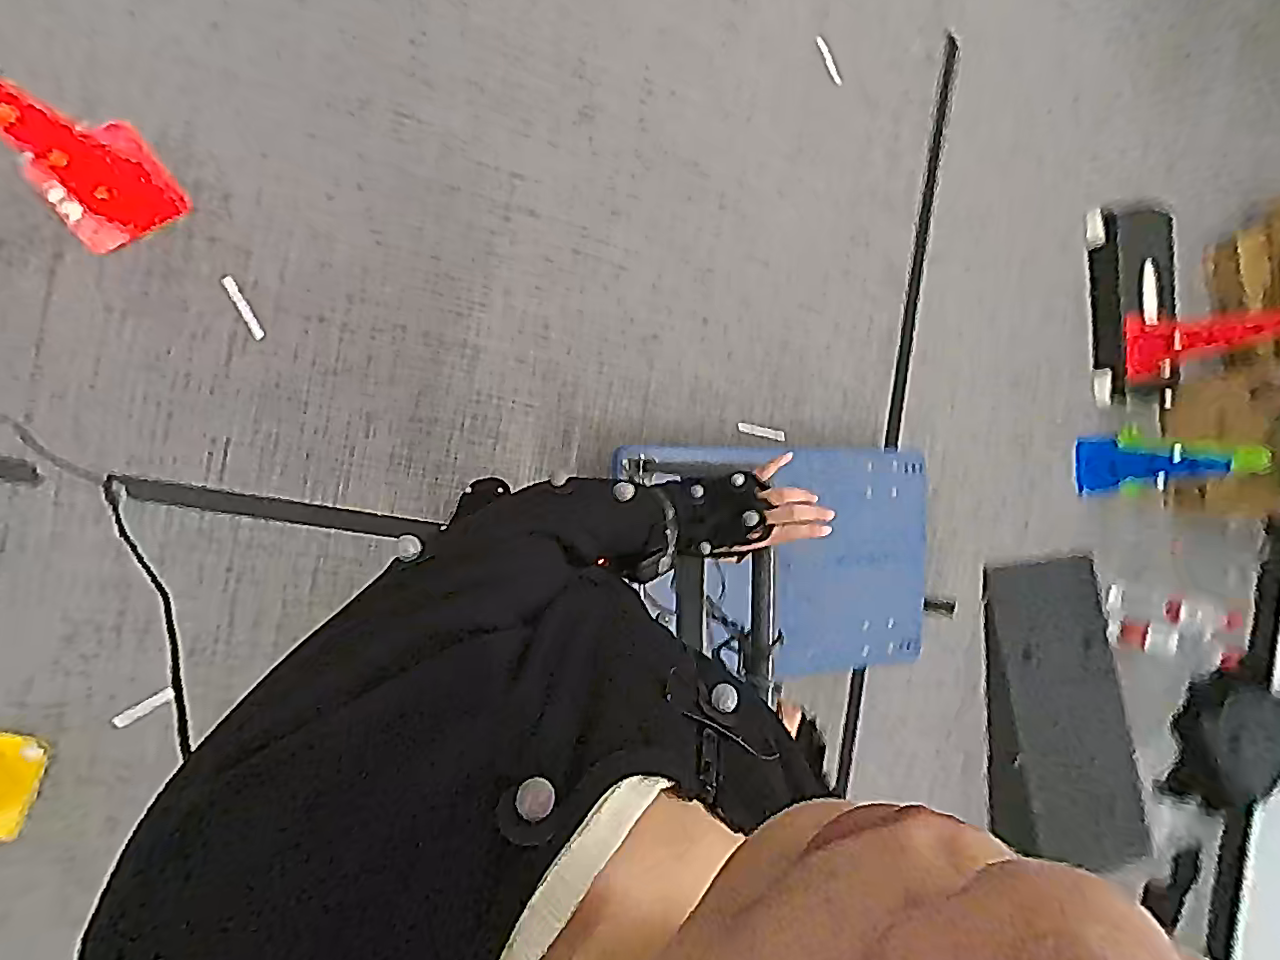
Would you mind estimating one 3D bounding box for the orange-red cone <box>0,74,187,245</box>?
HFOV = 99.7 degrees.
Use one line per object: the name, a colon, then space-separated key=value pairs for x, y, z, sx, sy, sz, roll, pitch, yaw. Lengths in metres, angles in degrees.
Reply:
orange-red cone: x=-0.988 y=-0.577 z=0.900 sx=0.198 sy=0.360 sz=0.199 roll=-35 pitch=103 yaw=-12
